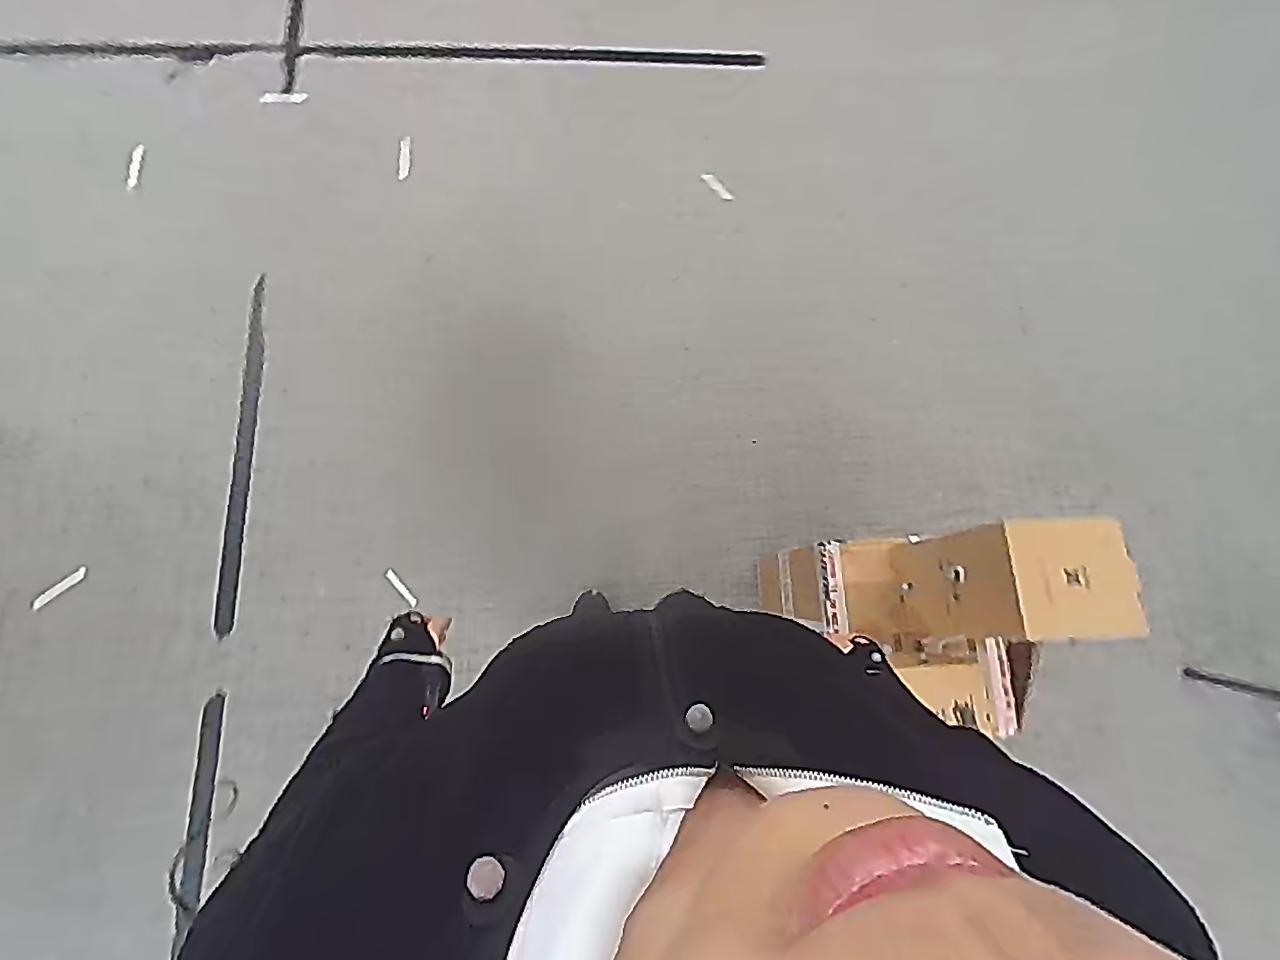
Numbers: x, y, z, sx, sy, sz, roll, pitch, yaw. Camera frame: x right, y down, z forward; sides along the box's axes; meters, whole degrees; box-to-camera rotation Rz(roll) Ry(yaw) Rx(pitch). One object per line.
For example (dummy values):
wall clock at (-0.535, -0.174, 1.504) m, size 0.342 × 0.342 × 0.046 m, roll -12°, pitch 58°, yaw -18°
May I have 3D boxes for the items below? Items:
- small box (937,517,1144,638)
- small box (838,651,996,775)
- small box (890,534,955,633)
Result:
small box at (0.594, 0.151, 0.827) m, size 0.179 × 0.176 × 0.168 m, roll -2°, pitch 75°, yaw -2°
small box at (0.466, 0.391, 0.934) m, size 0.179 × 0.176 × 0.168 m, roll -2°, pitch 78°, yaw -2°
small box at (0.589, 0.188, 0.985) m, size 0.179 × 0.176 × 0.168 m, roll -2°, pitch 76°, yaw -2°
